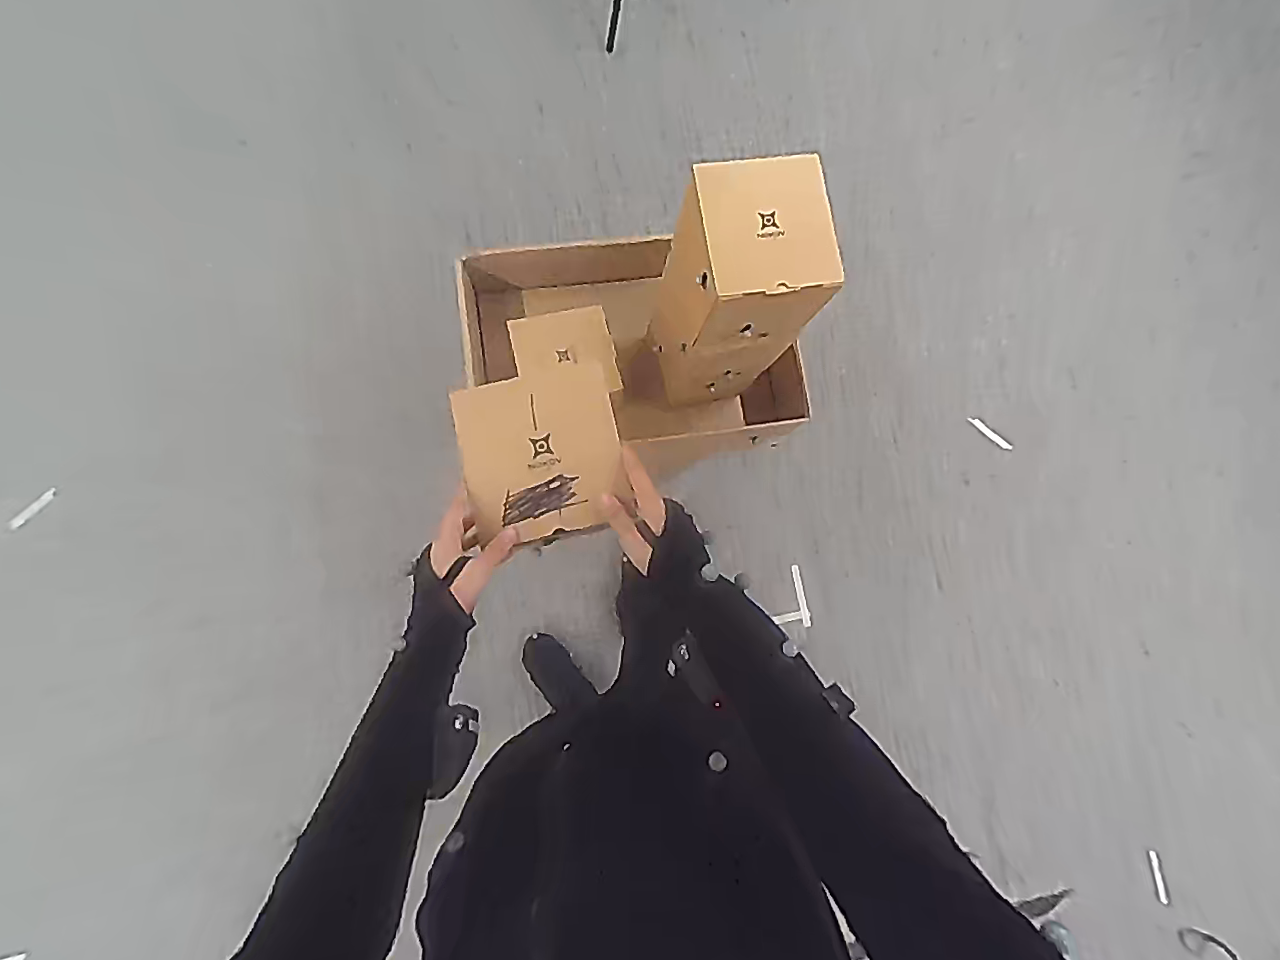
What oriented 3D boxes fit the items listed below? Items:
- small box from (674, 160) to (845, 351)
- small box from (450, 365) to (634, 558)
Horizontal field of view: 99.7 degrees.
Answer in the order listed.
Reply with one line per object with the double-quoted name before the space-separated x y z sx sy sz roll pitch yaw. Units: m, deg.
"small box" 0.149 -0.296 0.737 0.168 0.176 0.179 -9 84 -6
"small box" -0.102 -0.012 0.639 0.168 0.176 0.179 -13 83 -3
